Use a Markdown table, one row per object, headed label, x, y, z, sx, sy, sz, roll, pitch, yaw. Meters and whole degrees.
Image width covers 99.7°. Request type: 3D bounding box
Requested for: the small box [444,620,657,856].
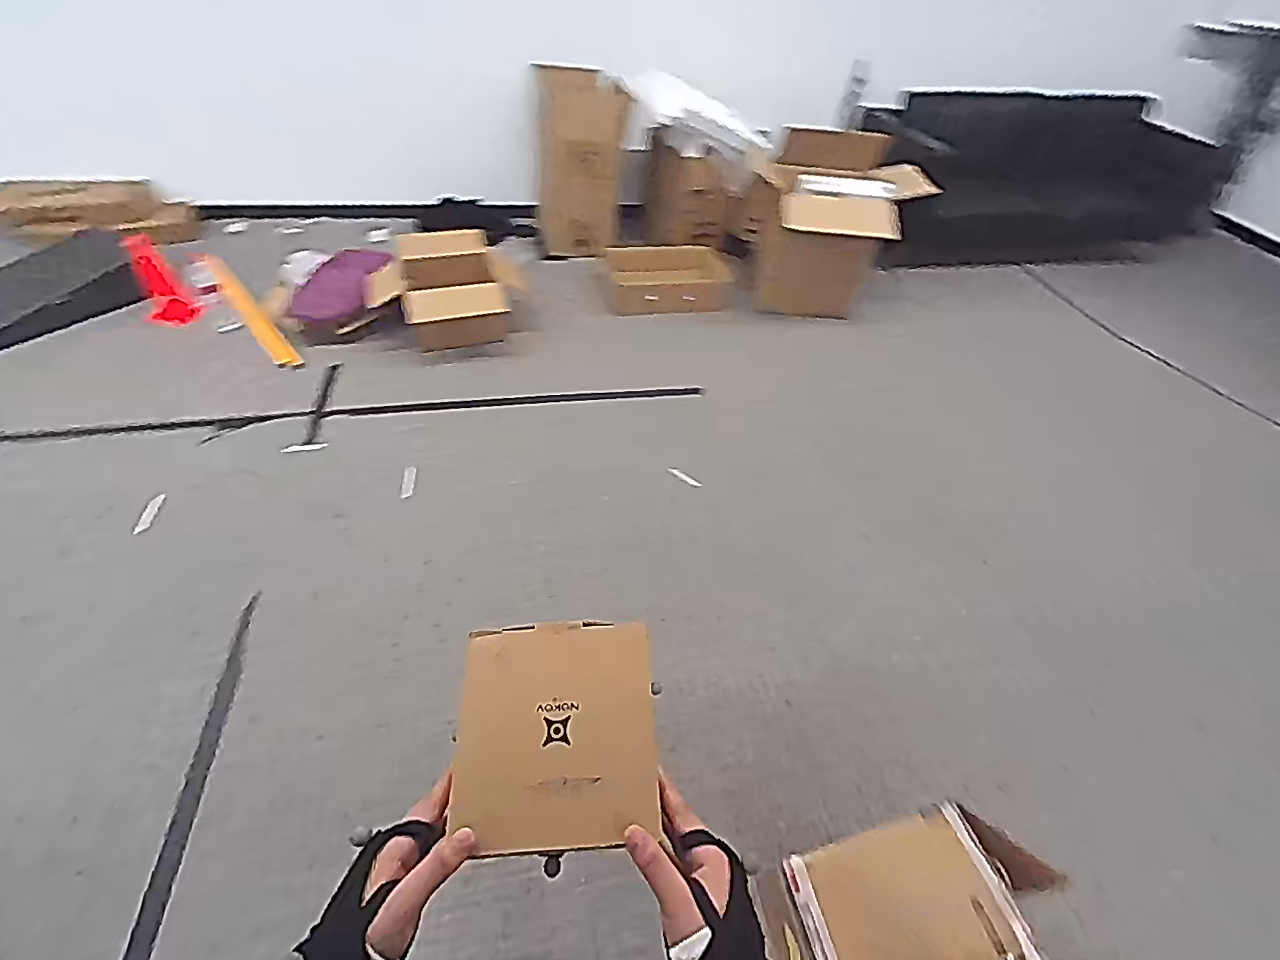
| label | x | y | z | sx | sy | sz | roll | pitch | yaw |
| --- | --- | --- | --- | --- | --- | --- | --- | --- | --- |
| small box | -0.078 | 0.253 | 0.526 | 0.168 | 0.176 | 0.179 | -3 | 56 | -5 |
